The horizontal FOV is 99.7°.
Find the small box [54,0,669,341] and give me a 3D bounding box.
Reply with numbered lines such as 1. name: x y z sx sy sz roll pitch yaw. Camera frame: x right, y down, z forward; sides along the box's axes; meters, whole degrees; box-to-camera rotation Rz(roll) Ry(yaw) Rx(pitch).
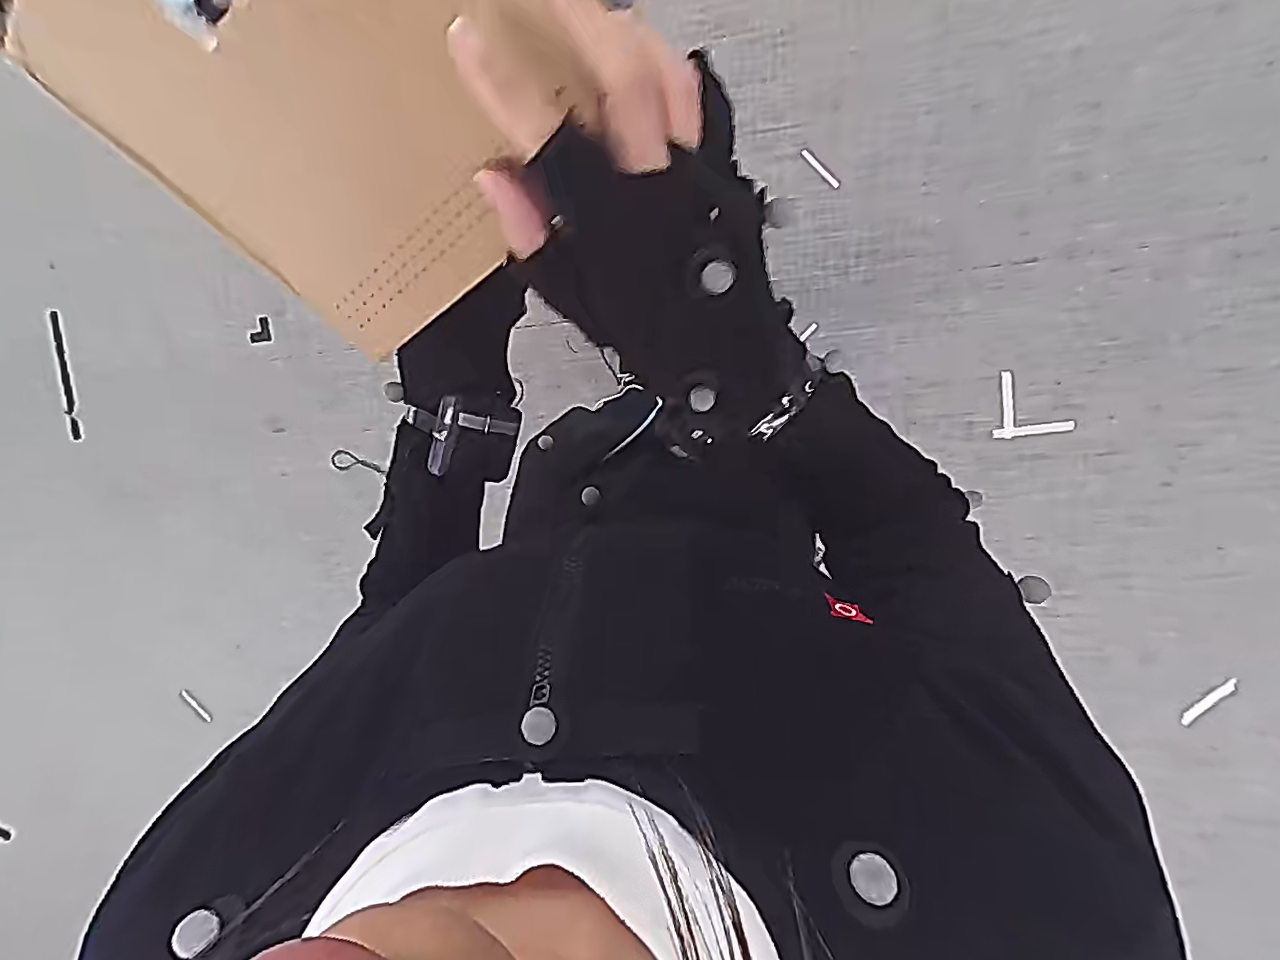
1. small box: -0.110 -0.203 0.269 0.179 0.168 0.176 -23 130 32
